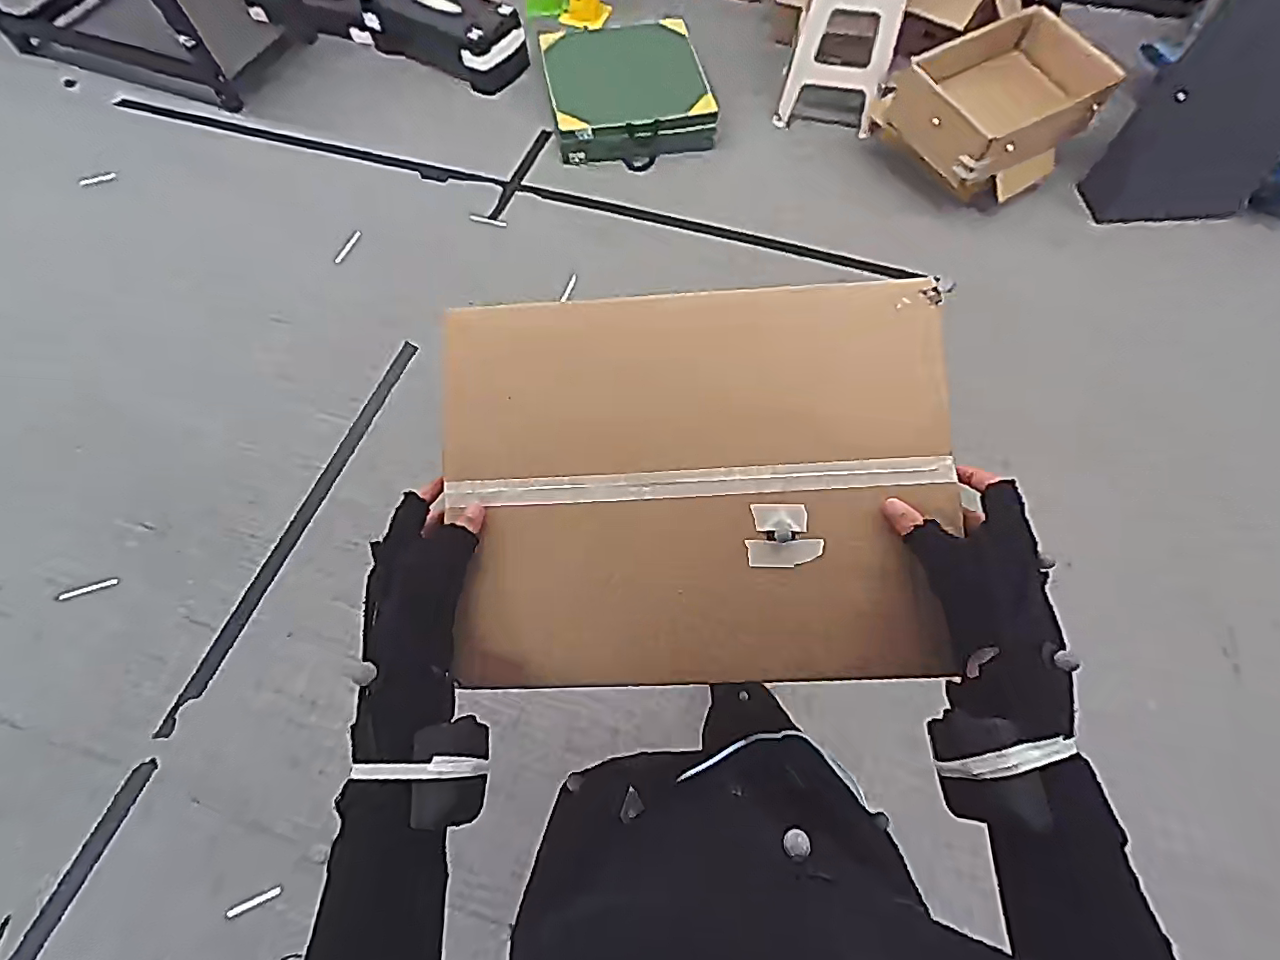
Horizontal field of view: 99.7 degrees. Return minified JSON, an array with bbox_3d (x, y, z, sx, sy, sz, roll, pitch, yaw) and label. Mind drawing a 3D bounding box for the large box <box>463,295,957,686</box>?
[{"bbox_3d":[0.055,0.021,0.602,0.408,0.320,0.320,-3,85,3],"label":"large box"}]
